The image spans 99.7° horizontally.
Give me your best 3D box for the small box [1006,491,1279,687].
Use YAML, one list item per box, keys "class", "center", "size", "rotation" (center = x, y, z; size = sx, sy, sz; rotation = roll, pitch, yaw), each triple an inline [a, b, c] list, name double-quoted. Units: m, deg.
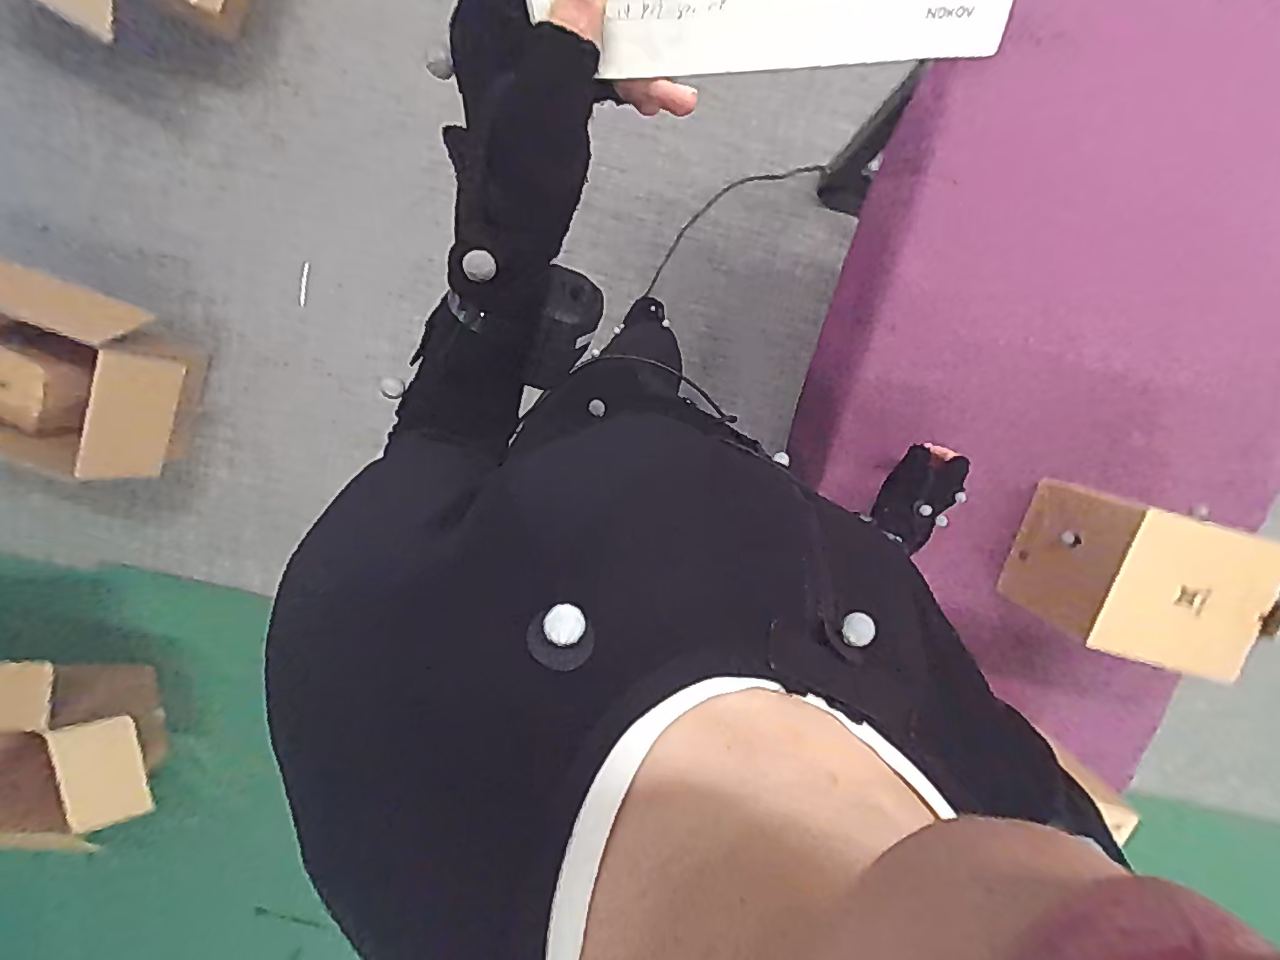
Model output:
- class: "small box"
  center: [0.603, 0.119, 0.664]
  size: [0.179, 0.176, 0.168]
  rotation: [14, 100, -3]
